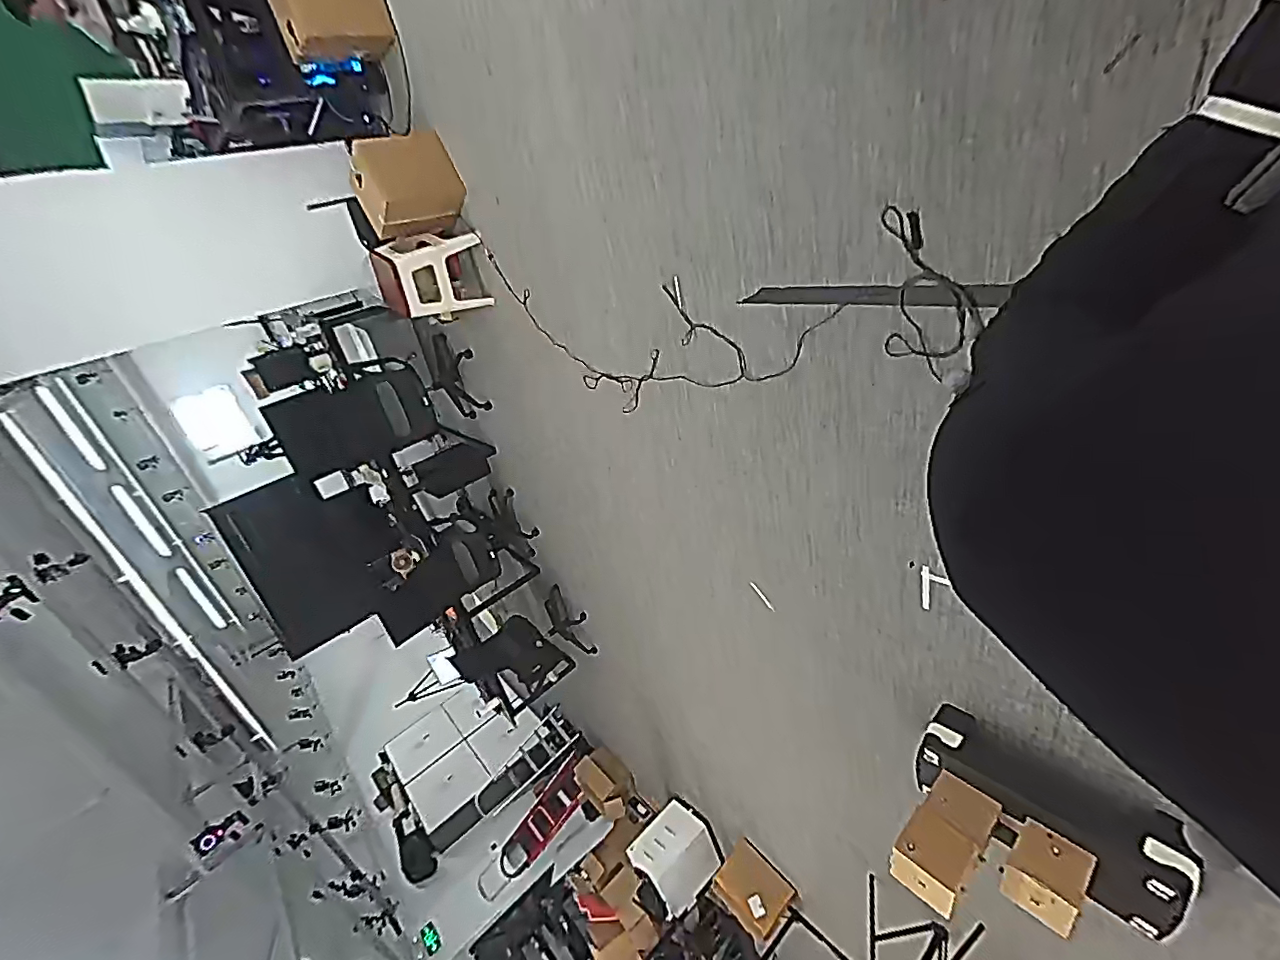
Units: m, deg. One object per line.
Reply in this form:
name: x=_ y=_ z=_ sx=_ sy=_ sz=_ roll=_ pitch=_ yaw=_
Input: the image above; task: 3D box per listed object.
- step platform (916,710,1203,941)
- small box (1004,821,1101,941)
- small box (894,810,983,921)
step platform: x=1.231 y=1.031 z=1.669 sx=0.684 sy=0.204 sz=0.286 roll=19 pitch=132 yaw=46
small box: x=1.154 y=1.114 z=1.513 sx=0.168 sy=0.176 sz=0.179 roll=21 pitch=133 yaw=45
small box: x=0.882 y=1.130 z=1.598 sx=0.179 sy=0.176 sz=0.168 roll=23 pitch=135 yaw=45
